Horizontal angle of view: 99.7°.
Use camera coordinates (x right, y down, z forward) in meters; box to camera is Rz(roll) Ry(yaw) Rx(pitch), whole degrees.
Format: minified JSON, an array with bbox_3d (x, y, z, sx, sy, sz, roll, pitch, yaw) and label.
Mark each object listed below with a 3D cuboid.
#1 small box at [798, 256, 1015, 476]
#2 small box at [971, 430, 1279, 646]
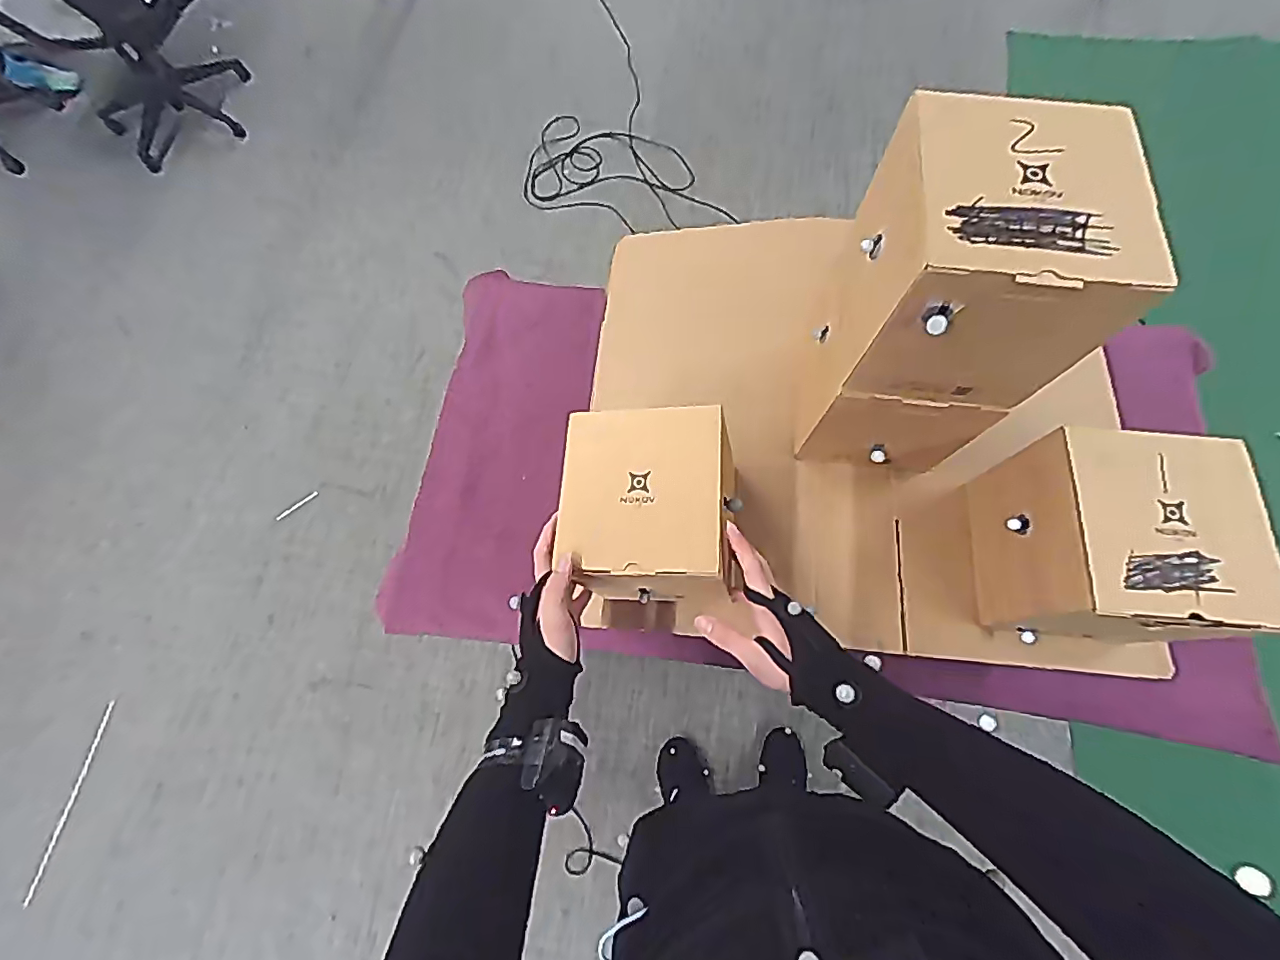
[{"bbox_3d":[0.284,-0.121,0.617,0.168,0.176,0.179,6,70,3],"label":"small box"},{"bbox_3d":[0.469,0.068,0.548,0.168,0.176,0.179,5,69,3],"label":"small box"}]
